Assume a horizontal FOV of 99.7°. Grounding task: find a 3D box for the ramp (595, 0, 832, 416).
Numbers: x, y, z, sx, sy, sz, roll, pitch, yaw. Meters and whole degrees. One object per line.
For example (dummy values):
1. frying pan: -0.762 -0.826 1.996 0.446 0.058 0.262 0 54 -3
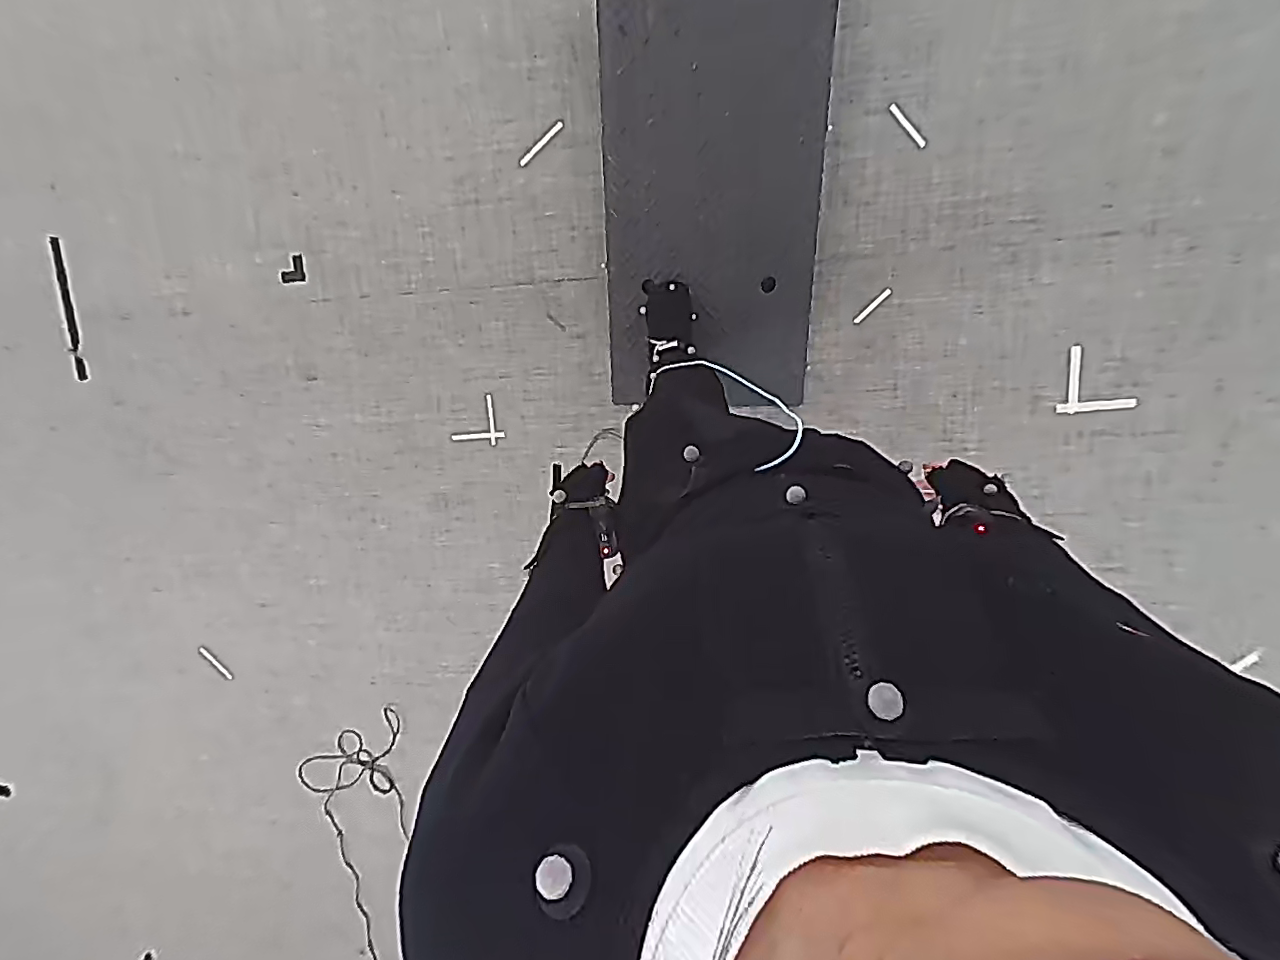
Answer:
1. ramp: 0.167 -0.640 1.250 0.509 0.206 0.991 -2 100 7
